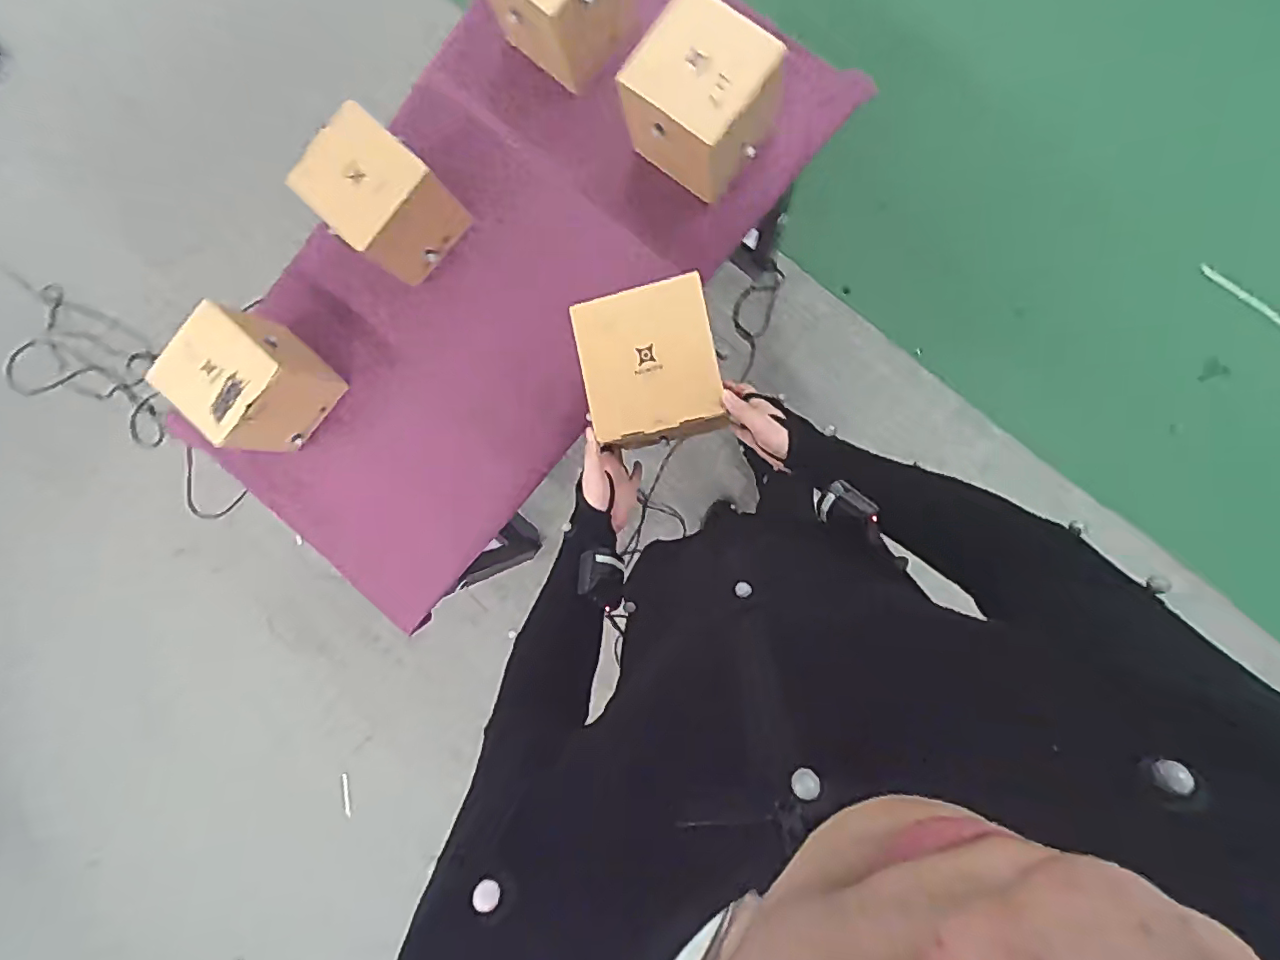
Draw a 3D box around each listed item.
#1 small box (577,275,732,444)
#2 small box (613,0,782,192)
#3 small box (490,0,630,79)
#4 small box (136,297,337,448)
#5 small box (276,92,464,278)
[{"bbox_3d":[0.027,-0.149,0.734,0.168,0.176,0.179,-11,91,10],"label":"small box"},{"bbox_3d":[0.086,-0.581,0.820,0.179,0.176,0.168,39,96,4],"label":"small box"},{"bbox_3d":[-0.138,-0.787,0.844,0.179,0.176,0.168,41,96,4],"label":"small box"},{"bbox_3d":[-0.663,-0.170,0.913,0.179,0.176,0.168,41,94,3],"label":"small box"},{"bbox_3d":[-0.428,-0.465,0.885,0.179,0.176,0.168,43,96,3],"label":"small box"}]
